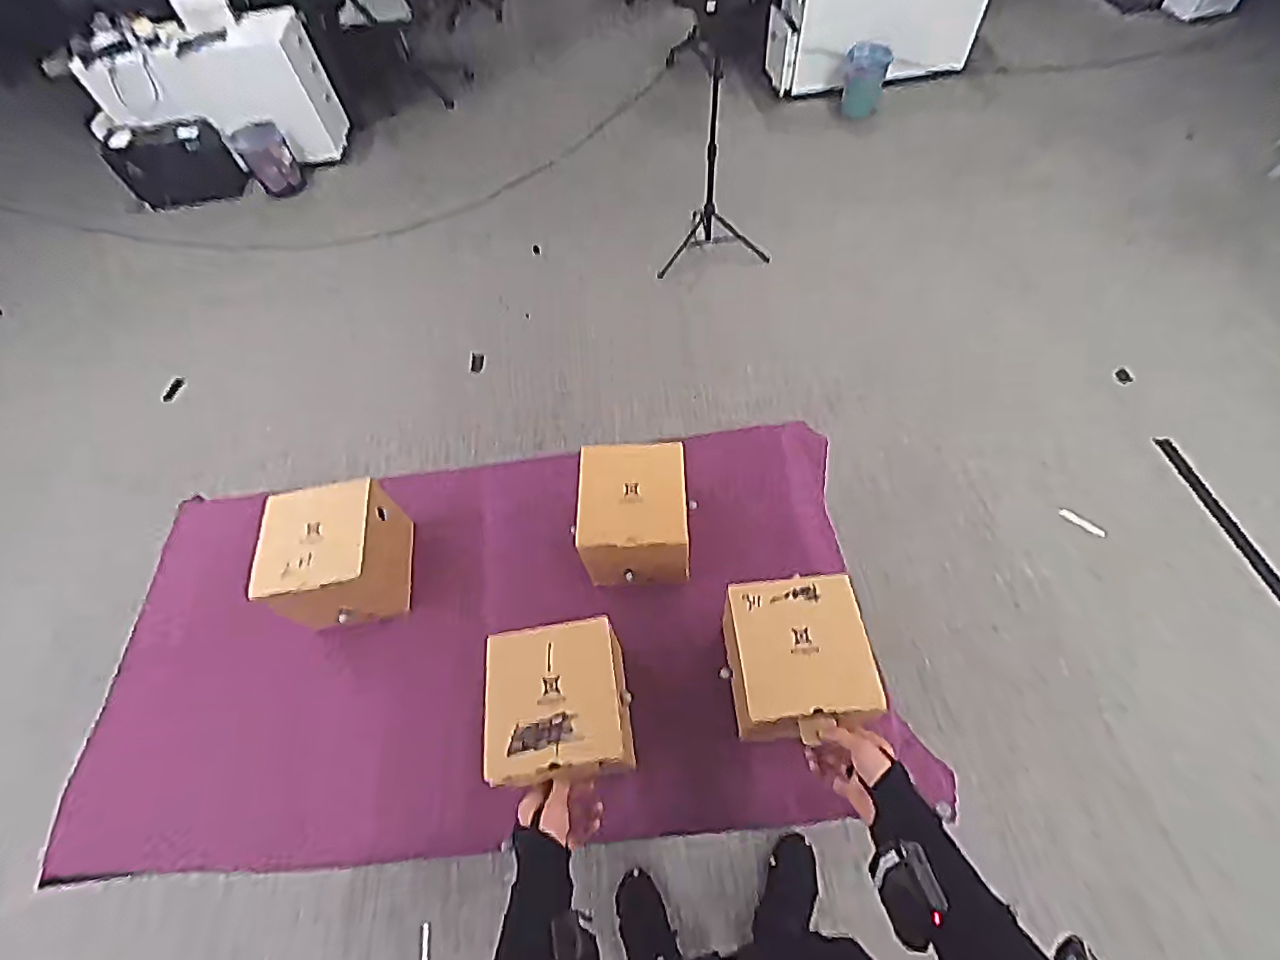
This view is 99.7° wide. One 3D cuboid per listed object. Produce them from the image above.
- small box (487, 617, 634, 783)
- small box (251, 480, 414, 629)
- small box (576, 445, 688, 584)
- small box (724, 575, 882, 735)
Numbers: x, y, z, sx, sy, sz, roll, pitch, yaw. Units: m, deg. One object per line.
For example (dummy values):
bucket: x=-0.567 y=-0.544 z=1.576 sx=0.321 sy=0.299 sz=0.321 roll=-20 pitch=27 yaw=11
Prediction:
small box: x=-0.105 y=0.310 z=0.746 sx=0.168 sy=0.176 sz=0.179 roll=-9 pitch=57 yaw=-1
small box: x=-0.491 y=0.127 z=0.896 sx=0.168 sy=0.176 sz=0.179 roll=-11 pitch=58 yaw=-2
small box: x=-0.007 y=0.061 z=0.897 sx=0.168 sy=0.176 sz=0.179 roll=-3 pitch=59 yaw=4
small box: x=0.210 y=0.251 z=0.754 sx=0.168 sy=0.176 sz=0.179 roll=-5 pitch=56 yaw=2
